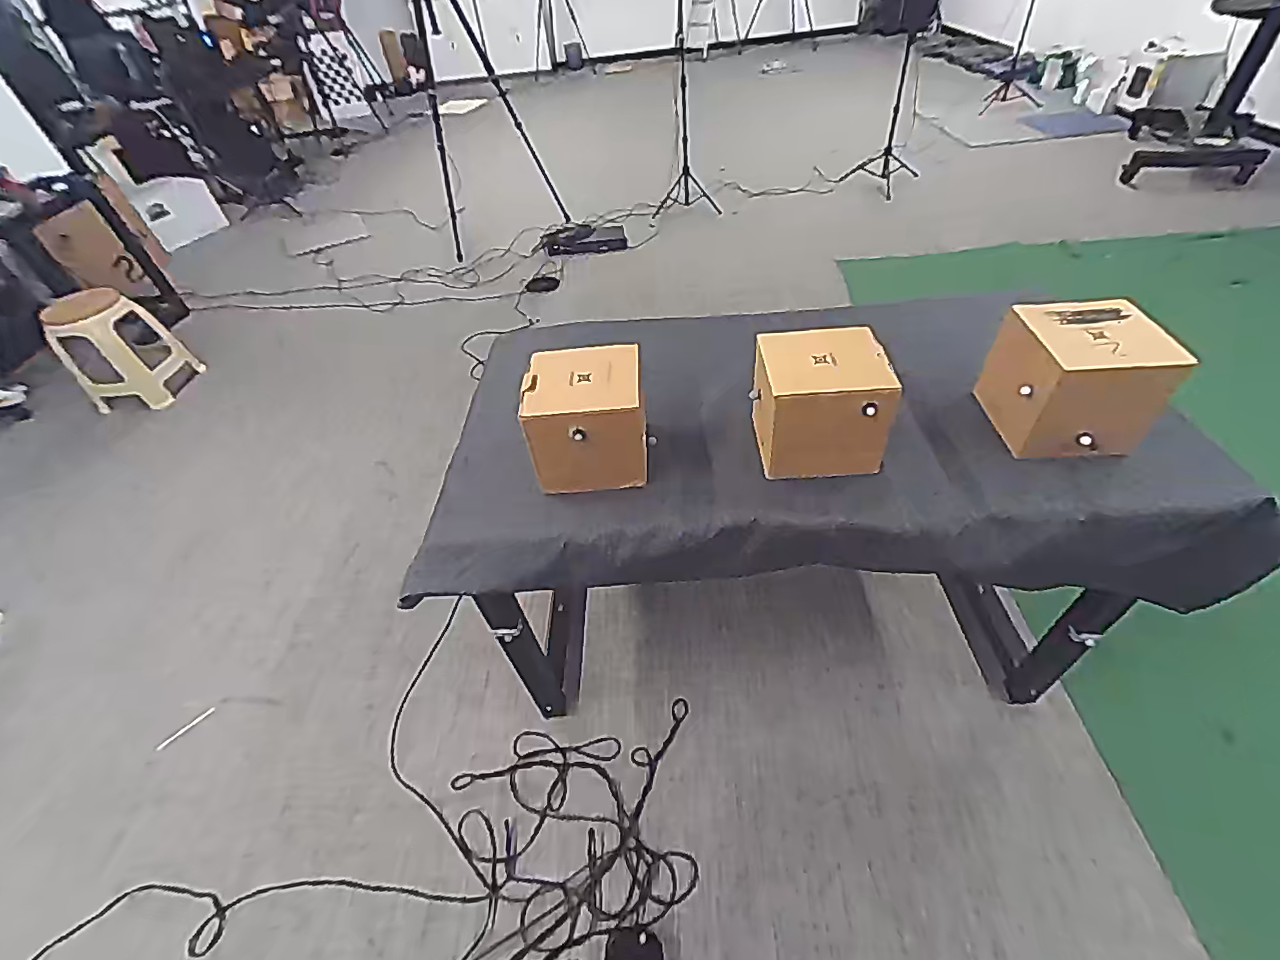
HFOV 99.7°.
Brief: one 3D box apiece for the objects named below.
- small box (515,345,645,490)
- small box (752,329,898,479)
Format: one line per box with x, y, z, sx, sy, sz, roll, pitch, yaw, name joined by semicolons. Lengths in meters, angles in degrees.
-0.085;-0.096;0.868;0.179;0.176;0.168;-3;46;2;small box
0.272;-0.115;0.846;0.179;0.176;0.168;-3;45;3;small box
